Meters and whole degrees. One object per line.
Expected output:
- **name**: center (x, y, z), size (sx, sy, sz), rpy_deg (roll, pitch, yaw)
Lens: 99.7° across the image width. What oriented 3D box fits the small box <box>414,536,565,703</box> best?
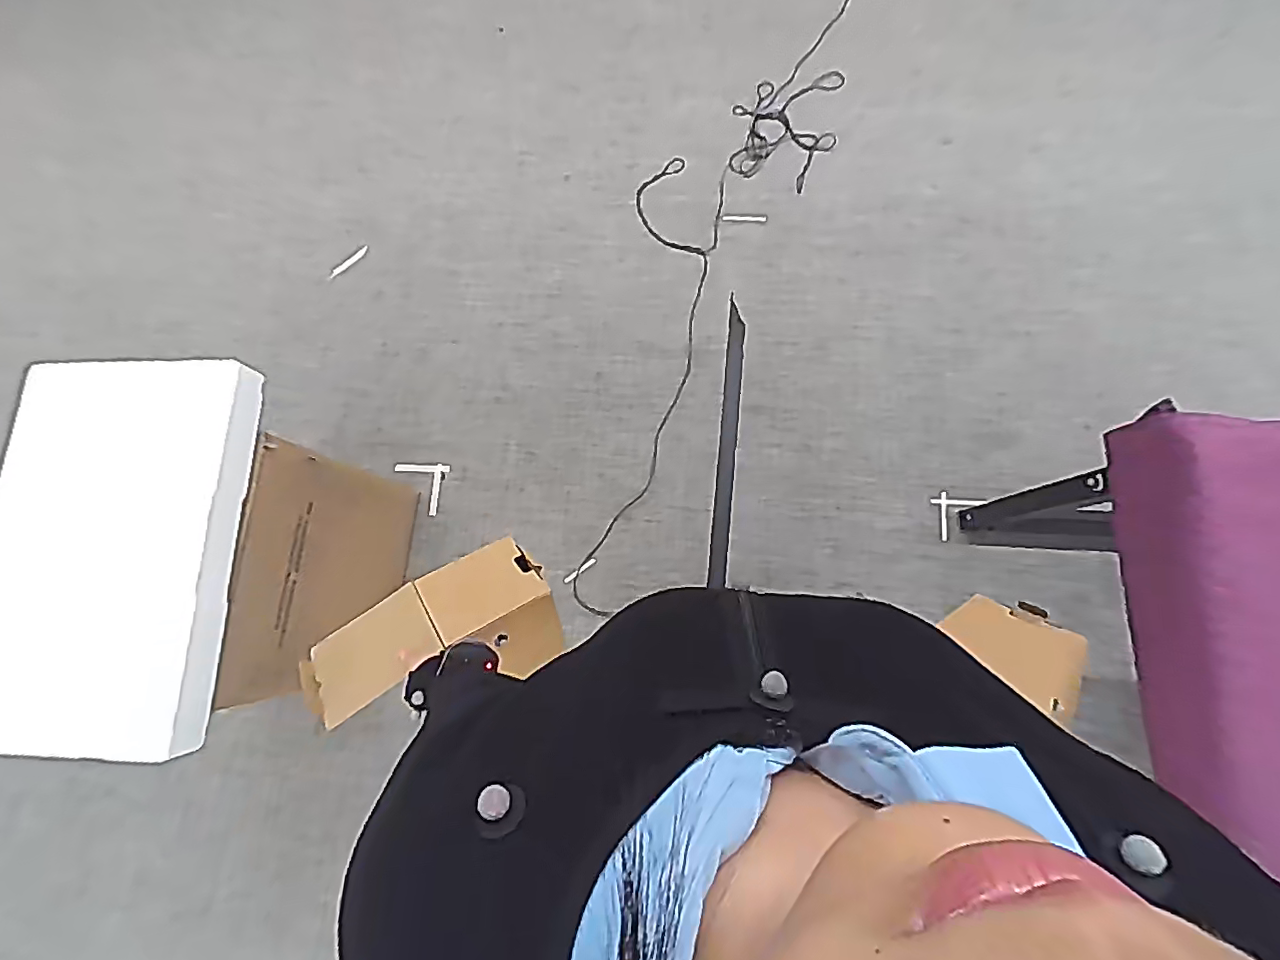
- **small box**: center (-0.245, 0.232, 0.903), size (0.179, 0.176, 0.168), rpy_deg (-26, 42, -25)
